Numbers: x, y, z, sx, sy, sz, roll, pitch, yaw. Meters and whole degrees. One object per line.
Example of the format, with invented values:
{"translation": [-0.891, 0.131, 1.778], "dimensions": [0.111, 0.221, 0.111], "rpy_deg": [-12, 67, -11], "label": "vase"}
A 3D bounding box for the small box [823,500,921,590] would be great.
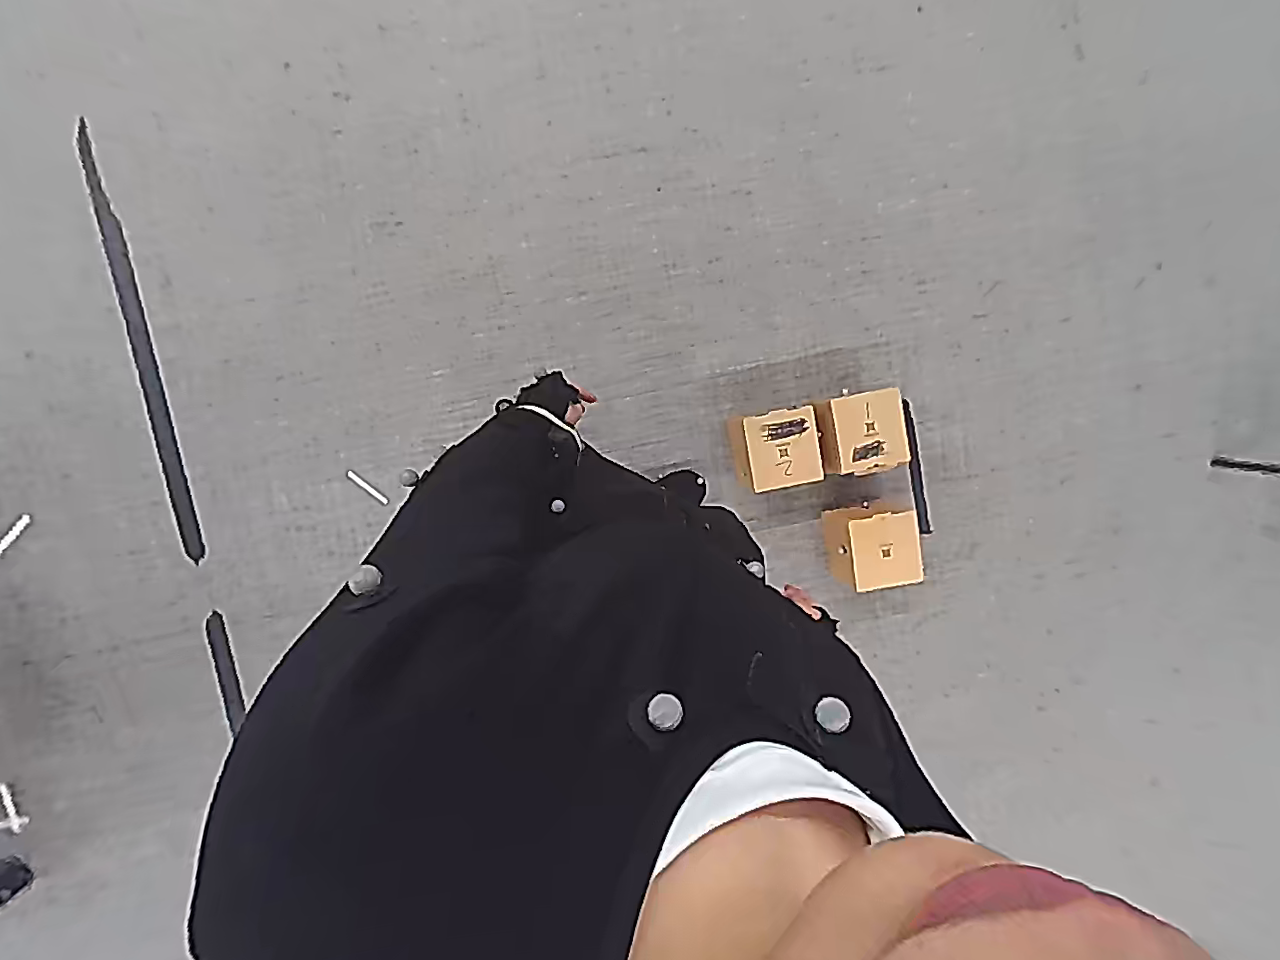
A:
{"translation": [0.574, 0.156, 1.353], "dimensions": [0.168, 0.176, 0.179], "rpy_deg": [-9, 95, -2], "label": "small box"}

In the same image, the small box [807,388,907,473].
{"translation": [0.525, -0.122, 1.324], "dimensions": [0.168, 0.176, 0.179], "rpy_deg": [-10, 95, -1], "label": "small box"}
